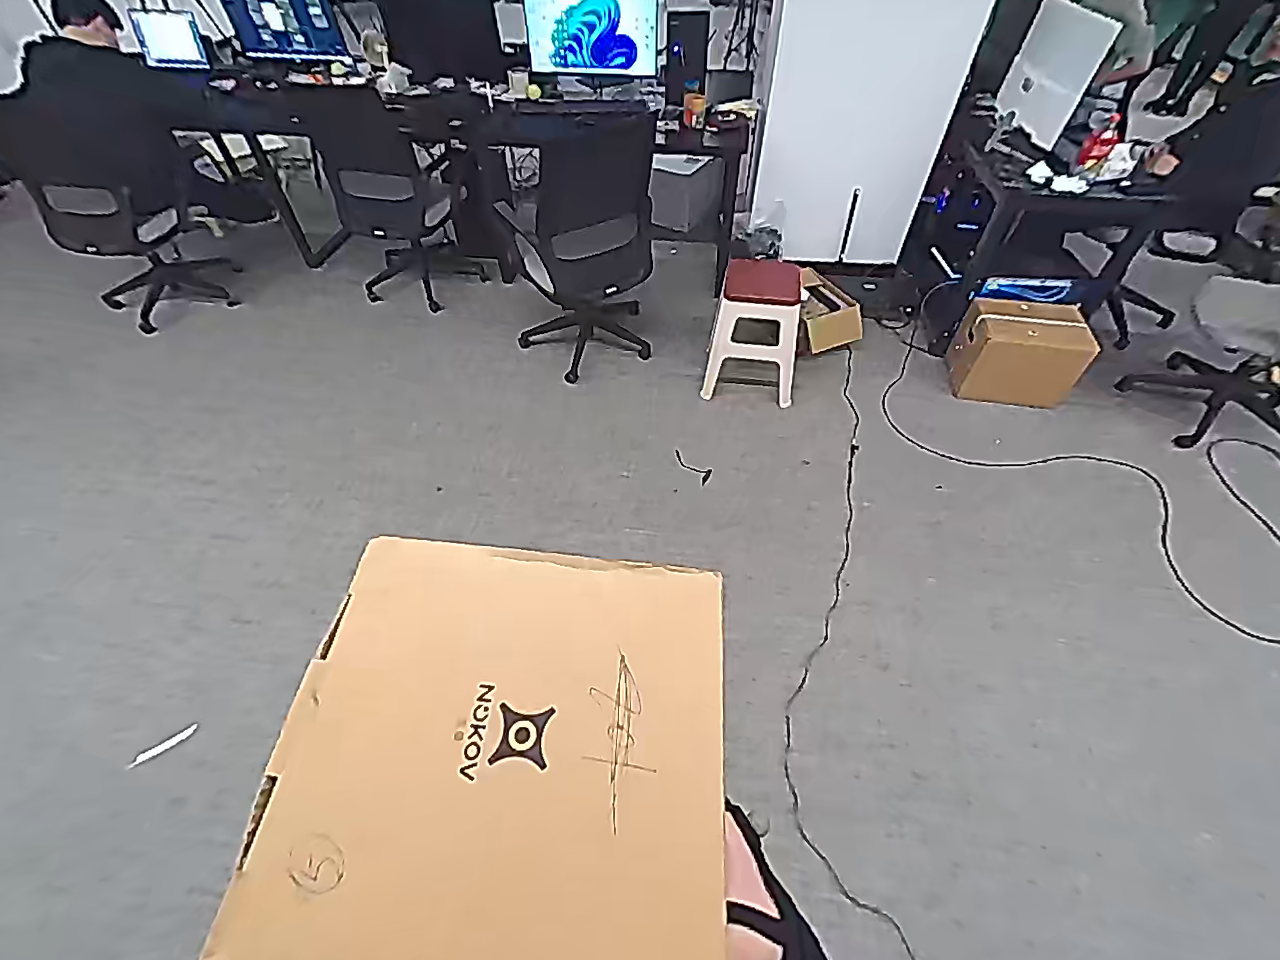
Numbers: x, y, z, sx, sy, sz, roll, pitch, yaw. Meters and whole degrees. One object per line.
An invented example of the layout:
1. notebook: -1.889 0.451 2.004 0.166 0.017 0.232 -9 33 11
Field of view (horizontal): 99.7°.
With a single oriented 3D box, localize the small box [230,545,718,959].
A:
1. small box: -0.060 0.153 0.300 0.179 0.176 0.168 6 56 -3
